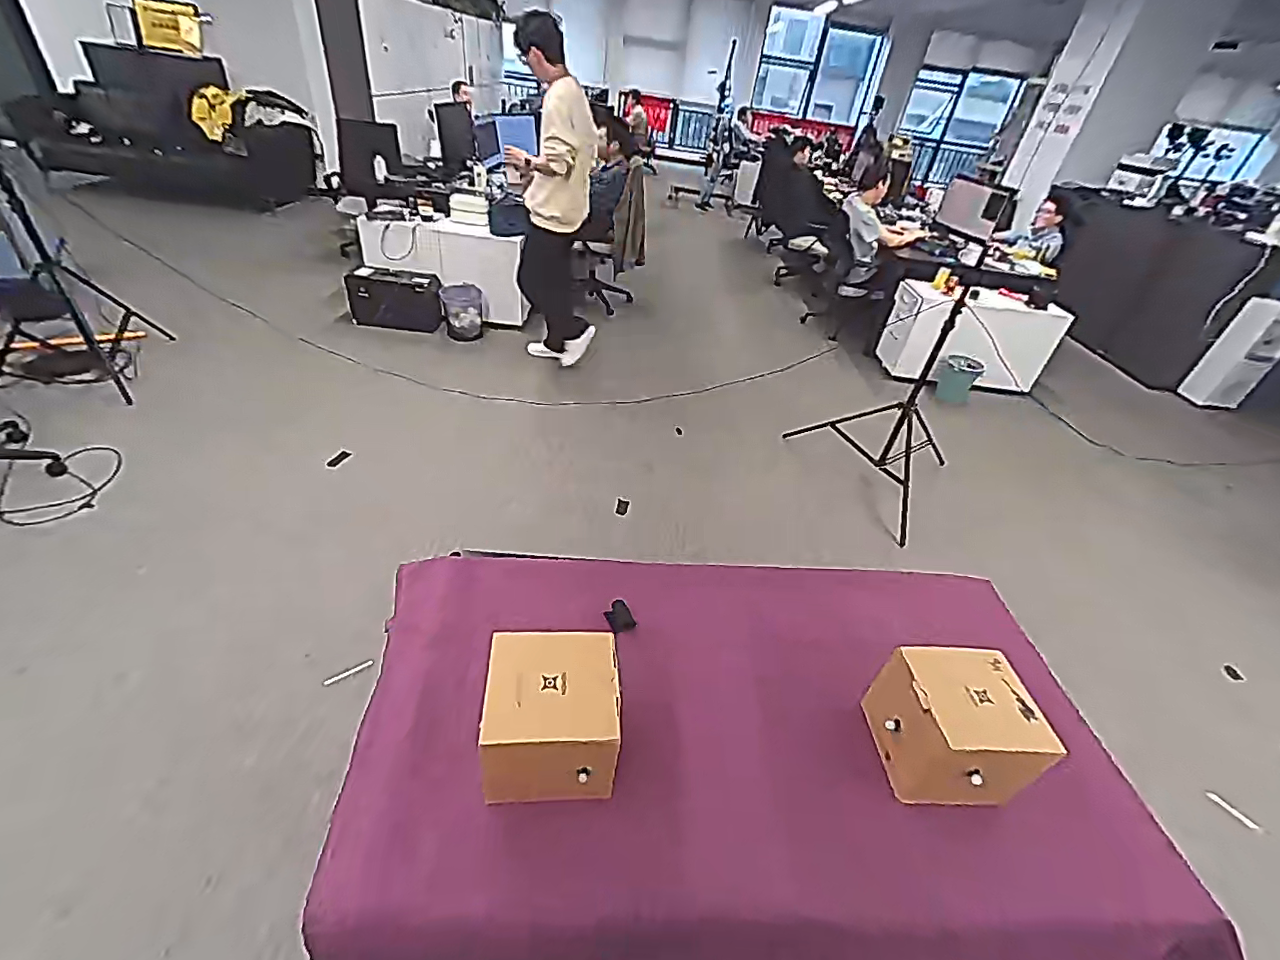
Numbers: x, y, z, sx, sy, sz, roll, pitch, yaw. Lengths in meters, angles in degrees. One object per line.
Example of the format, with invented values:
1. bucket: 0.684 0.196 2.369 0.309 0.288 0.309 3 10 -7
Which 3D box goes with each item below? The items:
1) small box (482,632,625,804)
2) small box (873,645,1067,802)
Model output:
1. small box: -0.121 0.337 0.771 0.179 0.176 0.168 1 36 -8
2. small box: 0.485 0.376 0.835 0.179 0.176 0.168 3 37 -5
